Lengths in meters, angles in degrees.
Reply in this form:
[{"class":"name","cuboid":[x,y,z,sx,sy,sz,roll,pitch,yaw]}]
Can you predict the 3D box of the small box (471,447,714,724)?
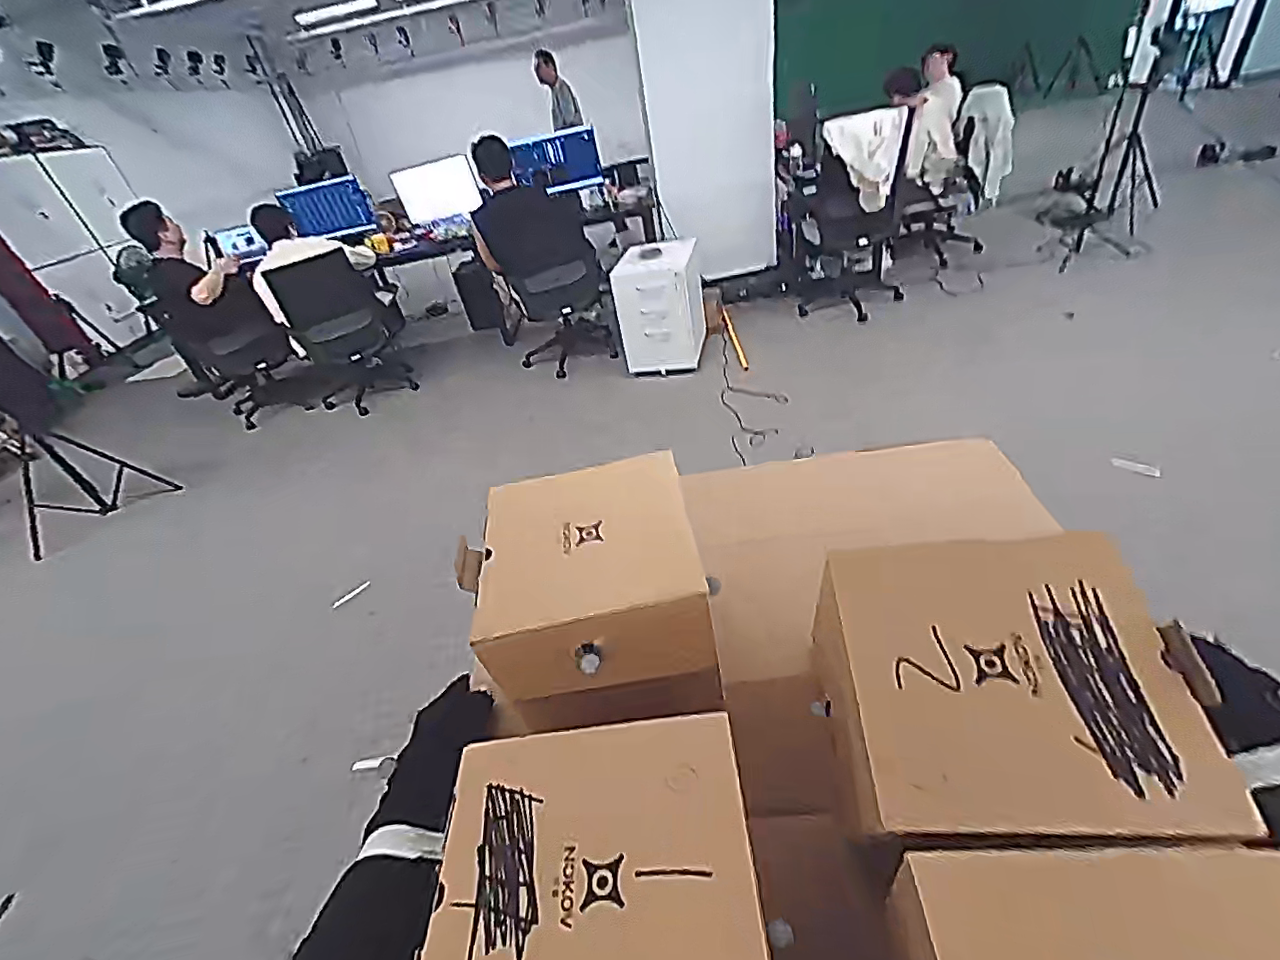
[{"class":"small box","cuboid":[-0.033,0.099,0.500,0.179,0.176,0.168,-13,42,3]}]
